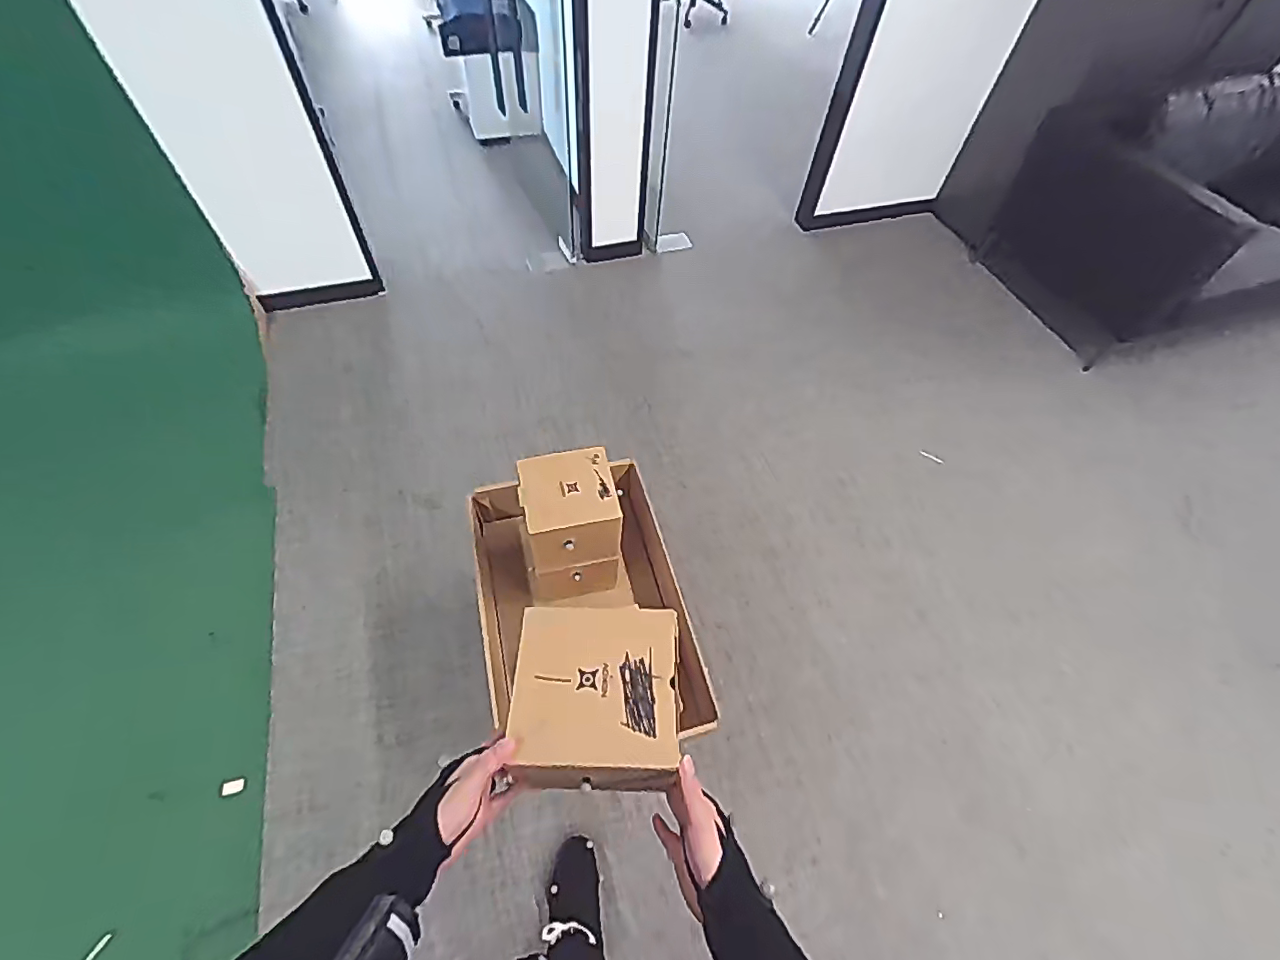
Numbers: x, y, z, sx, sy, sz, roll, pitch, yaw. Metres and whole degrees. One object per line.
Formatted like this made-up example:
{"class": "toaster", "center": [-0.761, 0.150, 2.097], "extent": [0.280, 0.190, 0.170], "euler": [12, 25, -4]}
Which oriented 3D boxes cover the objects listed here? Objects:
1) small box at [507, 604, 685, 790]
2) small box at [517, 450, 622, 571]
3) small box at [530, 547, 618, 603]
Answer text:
{"class": "small box", "center": [-0.042, 0.259, 0.637], "extent": [0.179, 0.176, 0.168], "euler": [1, 53, 1]}
{"class": "small box", "center": [-0.138, 0.066, 1.070], "extent": [0.179, 0.176, 0.168], "euler": [-10, 59, -11]}
{"class": "small box", "center": [-0.152, 0.160, 1.203], "extent": [0.179, 0.176, 0.168], "euler": [-8, 58, -12]}
